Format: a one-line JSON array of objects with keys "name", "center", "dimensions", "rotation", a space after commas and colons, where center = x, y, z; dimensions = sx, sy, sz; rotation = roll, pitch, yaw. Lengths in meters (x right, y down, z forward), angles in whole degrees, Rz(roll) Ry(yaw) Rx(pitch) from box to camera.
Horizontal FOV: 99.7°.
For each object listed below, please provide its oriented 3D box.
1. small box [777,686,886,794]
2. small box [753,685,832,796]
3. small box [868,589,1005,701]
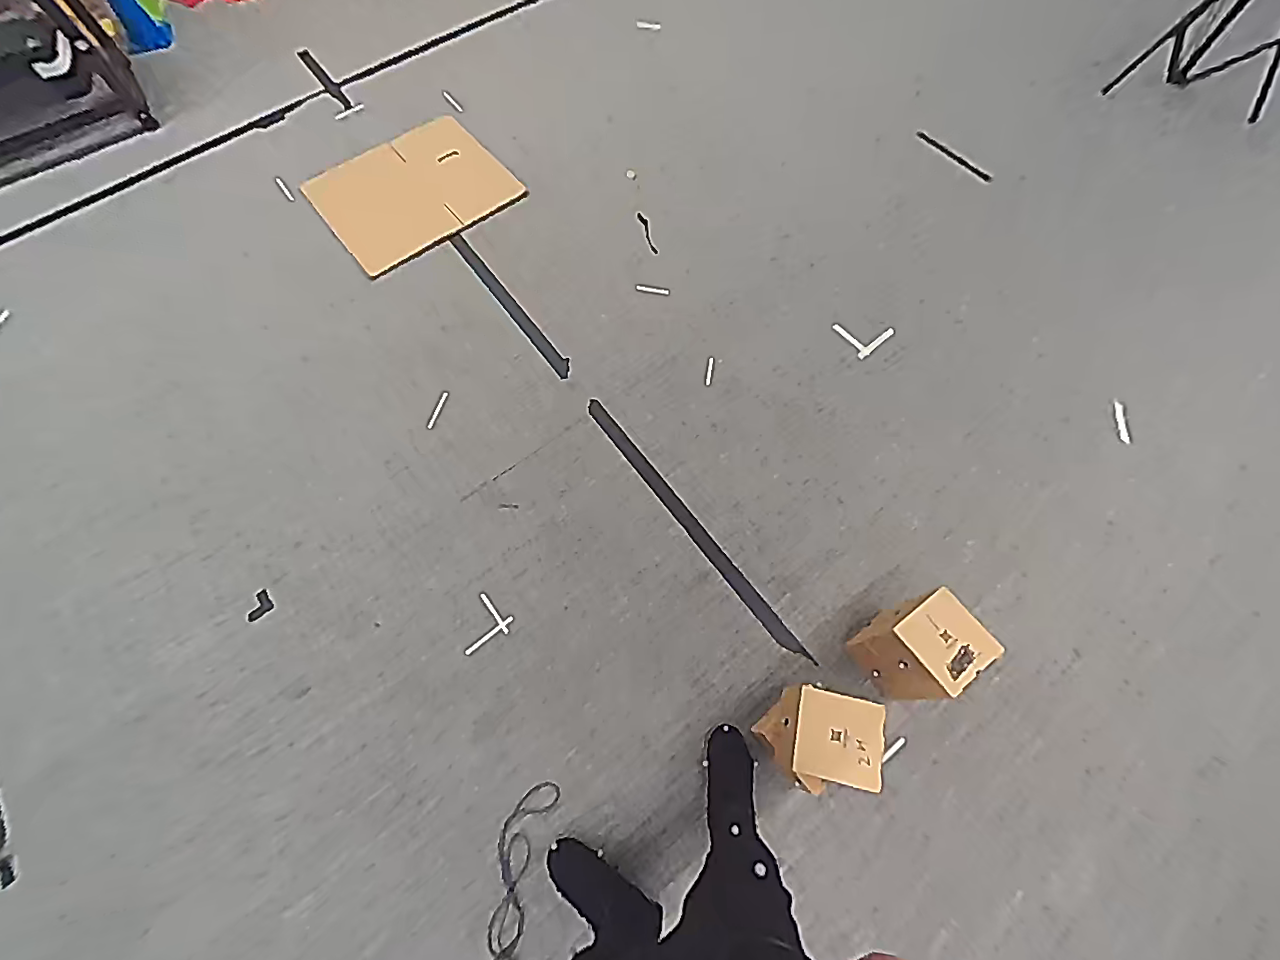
[{"name": "small box", "center": [0.403, 0.551, 1.161], "dimensions": [0.179, 0.176, 0.168], "rotation": [13, 68, 5]}, {"name": "small box", "center": [0.398, 0.625, 1.308], "dimensions": [0.168, 0.176, 0.179], "rotation": [-38, 72, -14]}, {"name": "small box", "center": [0.661, 0.377, 1.228], "dimensions": [0.168, 0.176, 0.179], "rotation": [-34, 70, -13]}]
